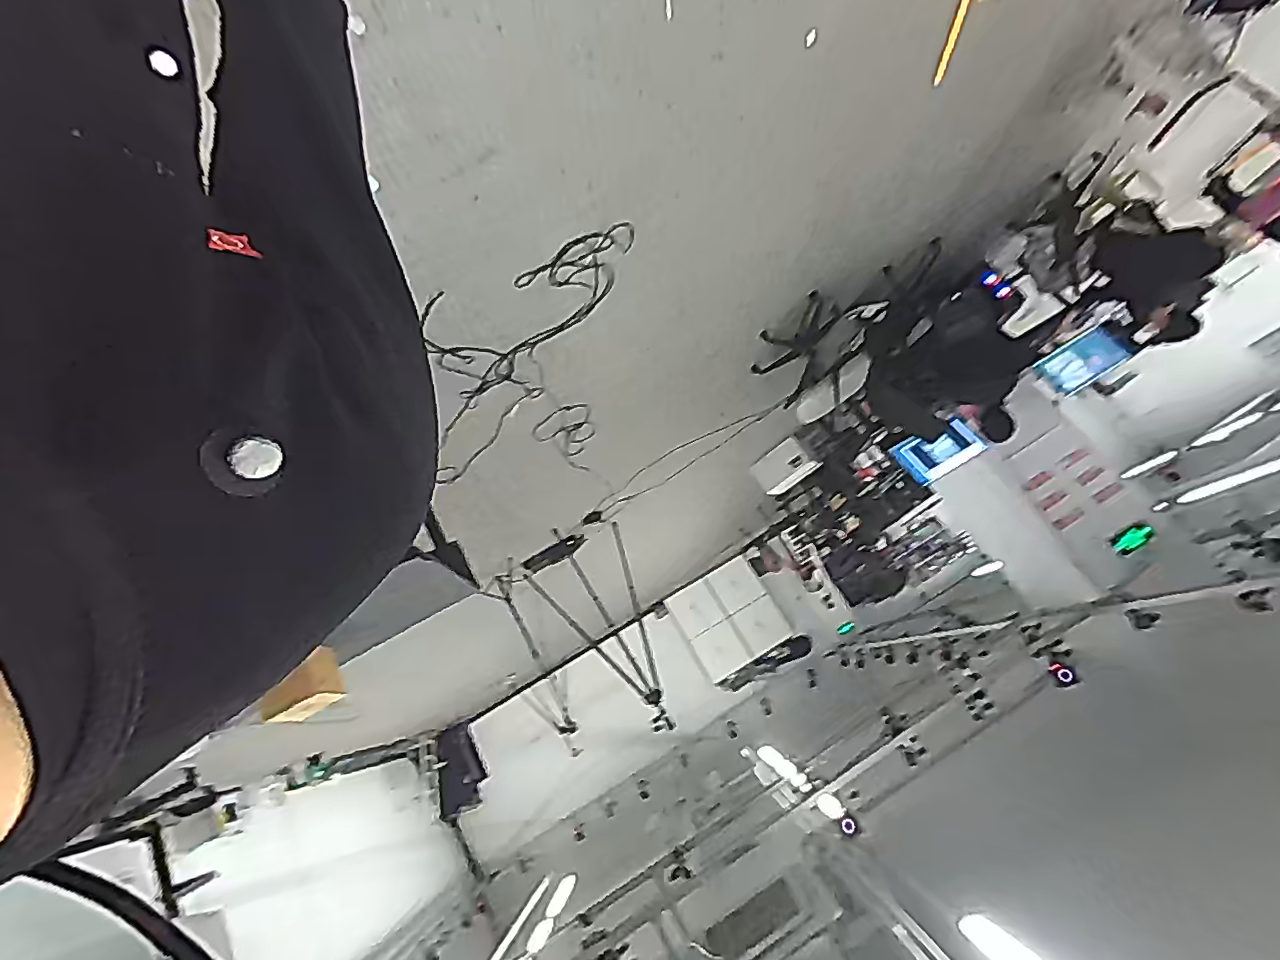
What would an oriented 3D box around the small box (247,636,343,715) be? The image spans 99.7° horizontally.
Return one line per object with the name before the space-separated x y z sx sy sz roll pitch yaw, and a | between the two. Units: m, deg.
small box | -1.057 0.598 1.661 0.168 0.176 0.179 -28 161 -11
